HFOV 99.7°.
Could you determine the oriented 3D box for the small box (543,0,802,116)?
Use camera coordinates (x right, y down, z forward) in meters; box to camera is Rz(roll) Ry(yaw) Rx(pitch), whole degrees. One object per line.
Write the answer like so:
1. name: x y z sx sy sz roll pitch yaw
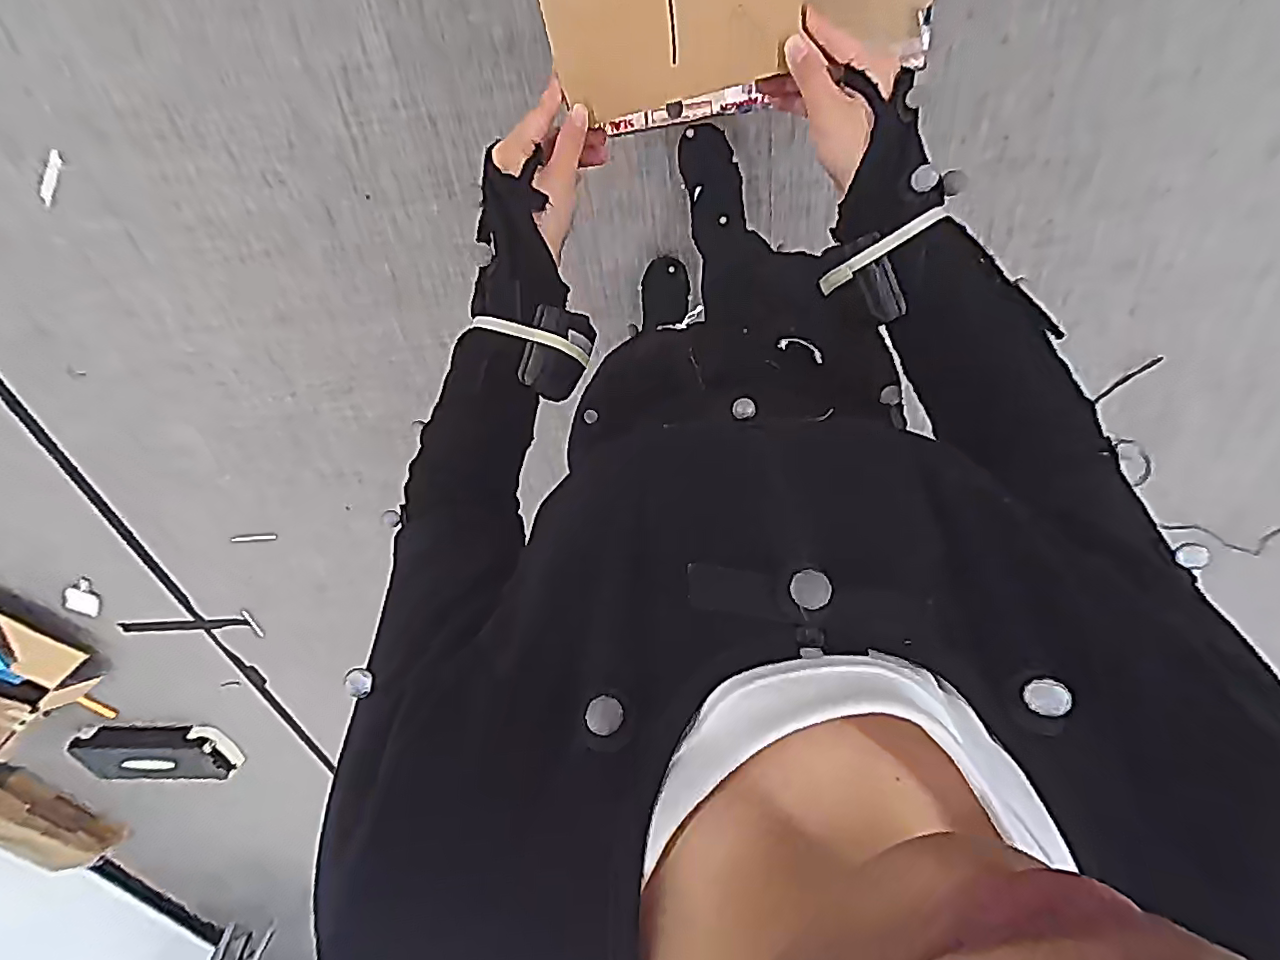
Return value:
1. small box: 0.014 -0.386 0.387 0.168 0.176 0.179 -9 127 9
